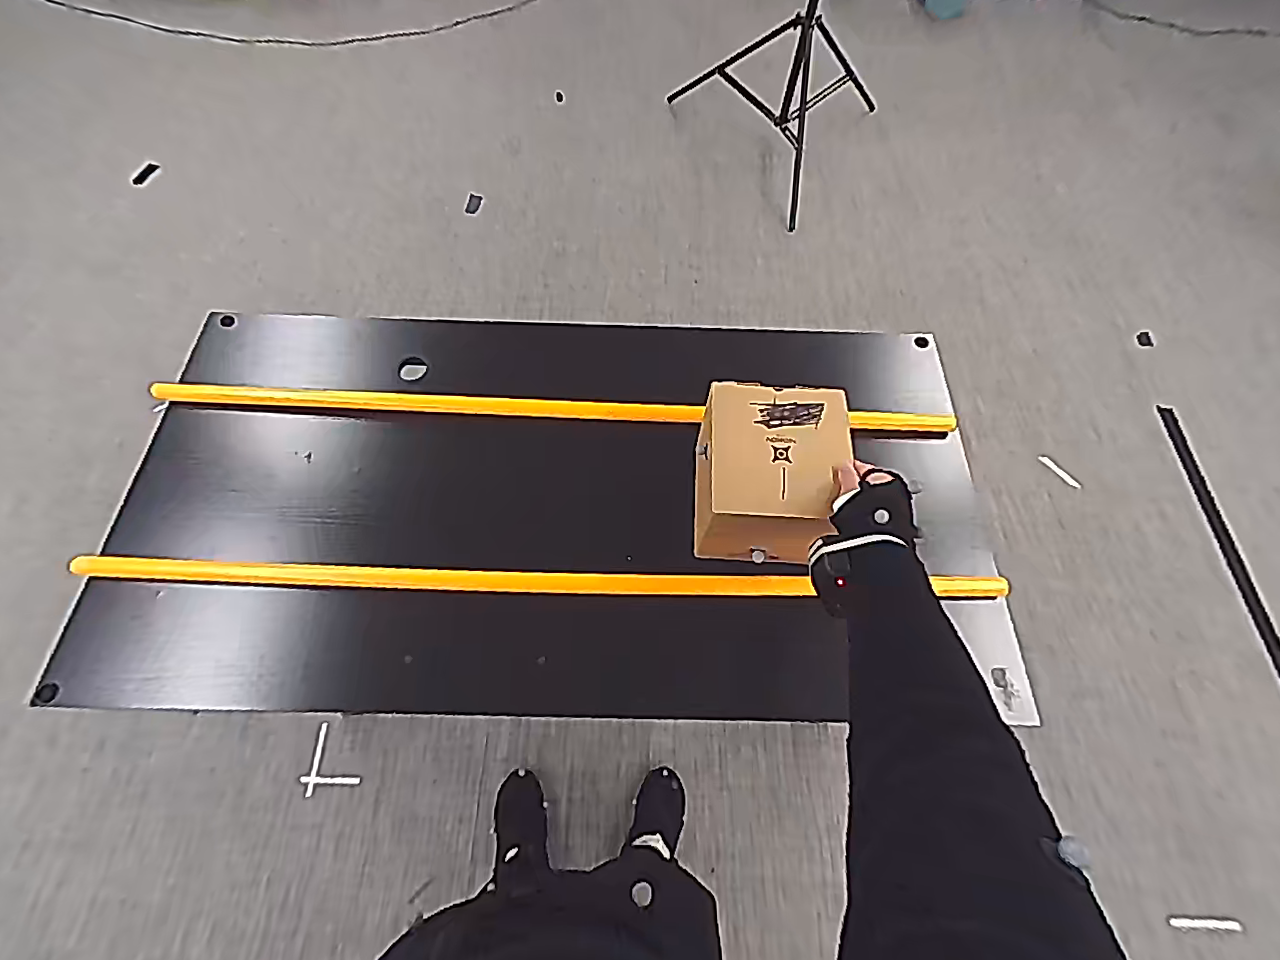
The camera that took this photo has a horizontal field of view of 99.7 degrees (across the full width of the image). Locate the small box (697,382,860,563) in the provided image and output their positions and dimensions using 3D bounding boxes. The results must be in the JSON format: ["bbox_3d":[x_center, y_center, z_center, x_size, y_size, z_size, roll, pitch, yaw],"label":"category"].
[{"bbox_3d":[0.165,-0.004,0.703,0.168,0.176,0.179,4,65,1],"label":"small box"}]
